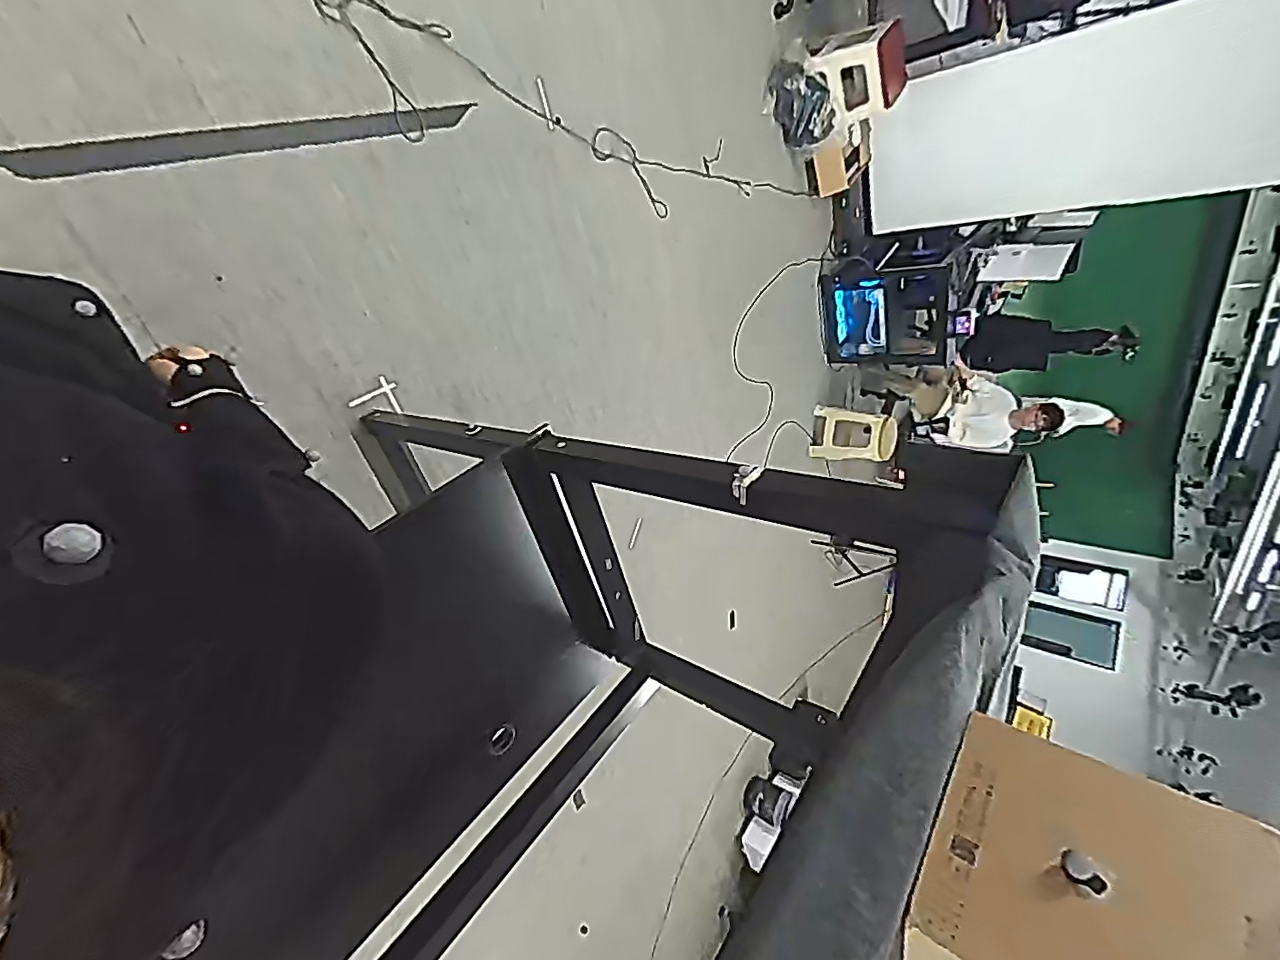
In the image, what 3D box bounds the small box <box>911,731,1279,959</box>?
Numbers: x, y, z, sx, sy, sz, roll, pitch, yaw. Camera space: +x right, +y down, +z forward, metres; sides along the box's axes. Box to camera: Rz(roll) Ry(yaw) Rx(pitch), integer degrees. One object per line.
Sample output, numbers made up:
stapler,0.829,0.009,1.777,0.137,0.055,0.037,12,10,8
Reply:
small box,0.301,0.310,0.379,0.168,0.176,0.179,-44,130,-33
